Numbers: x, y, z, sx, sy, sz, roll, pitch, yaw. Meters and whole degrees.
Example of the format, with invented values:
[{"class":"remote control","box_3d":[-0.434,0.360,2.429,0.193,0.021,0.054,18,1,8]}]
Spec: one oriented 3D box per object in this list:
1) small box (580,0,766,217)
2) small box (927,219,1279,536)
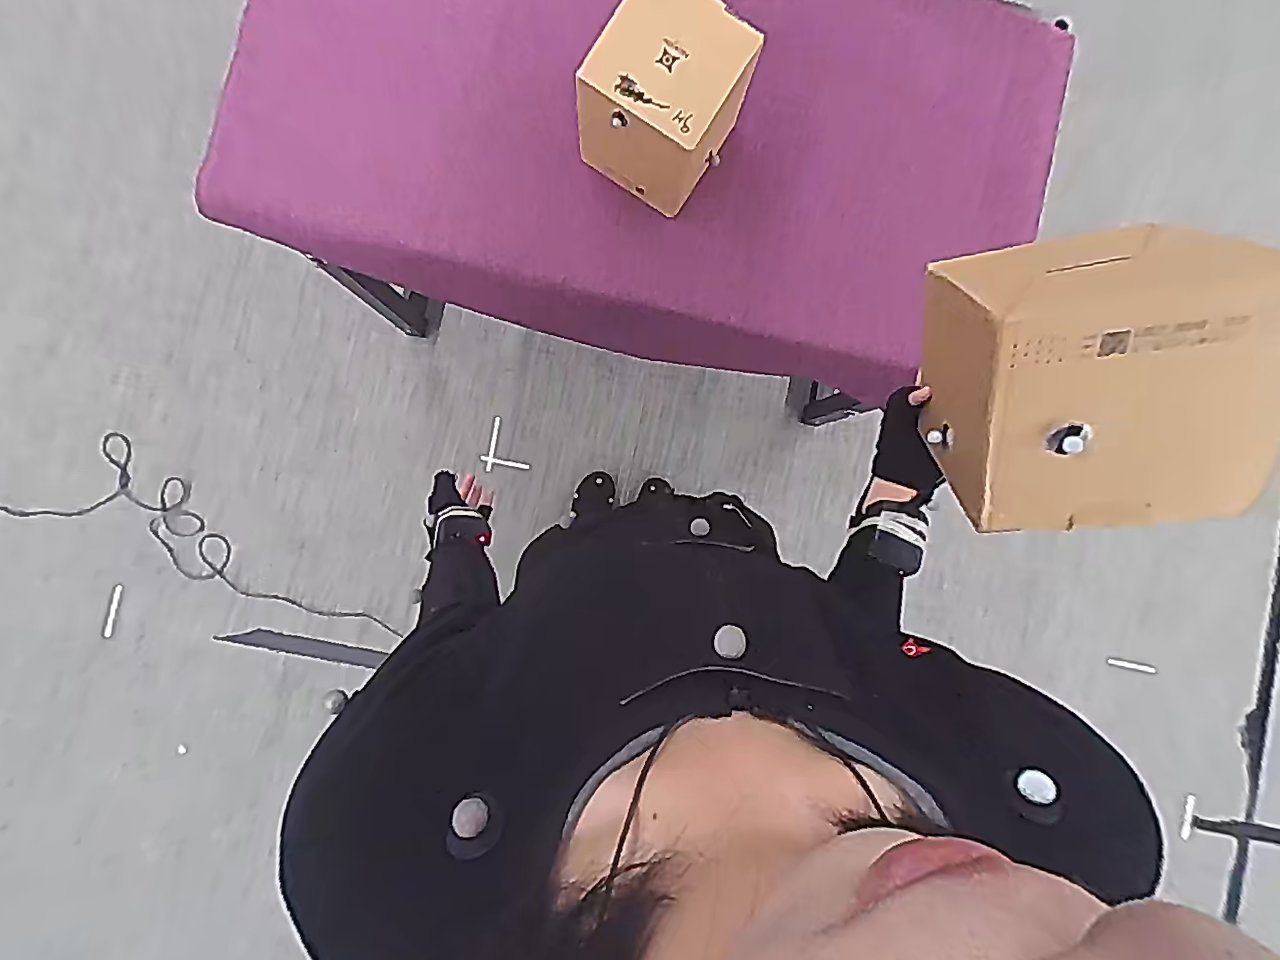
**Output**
[{"class":"small box","box_3d":[0.033,-0.499,0.719,0.168,0.176,0.179,32,86,-3]},{"class":"small box","box_3d":[0.327,-0.080,0.400,0.168,0.179,0.176,-4,121,15]}]
